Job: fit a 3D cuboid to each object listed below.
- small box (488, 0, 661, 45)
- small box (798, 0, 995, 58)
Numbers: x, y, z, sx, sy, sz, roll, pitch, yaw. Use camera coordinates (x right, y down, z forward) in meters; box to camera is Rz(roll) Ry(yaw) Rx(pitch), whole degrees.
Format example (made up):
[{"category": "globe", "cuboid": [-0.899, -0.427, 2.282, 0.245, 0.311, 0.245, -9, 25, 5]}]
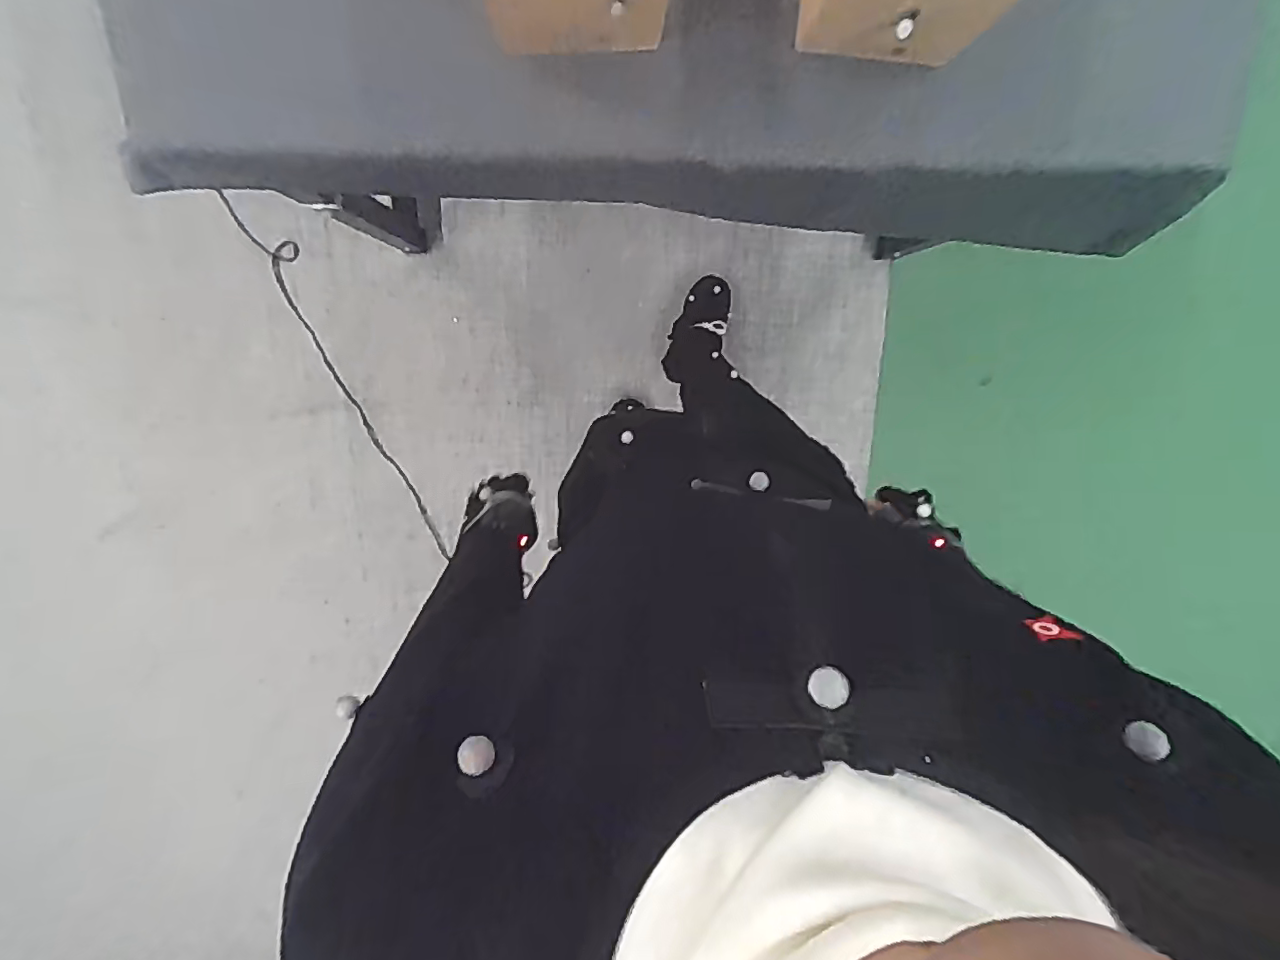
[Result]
[{"category": "small box", "cuboid": [-0.062, -0.516, 0.469, 0.168, 0.176, 0.179, -5, 102, -4]}, {"category": "small box", "cuboid": [0.254, -0.523, 0.488, 0.168, 0.176, 0.179, 2, 103, -5]}]
